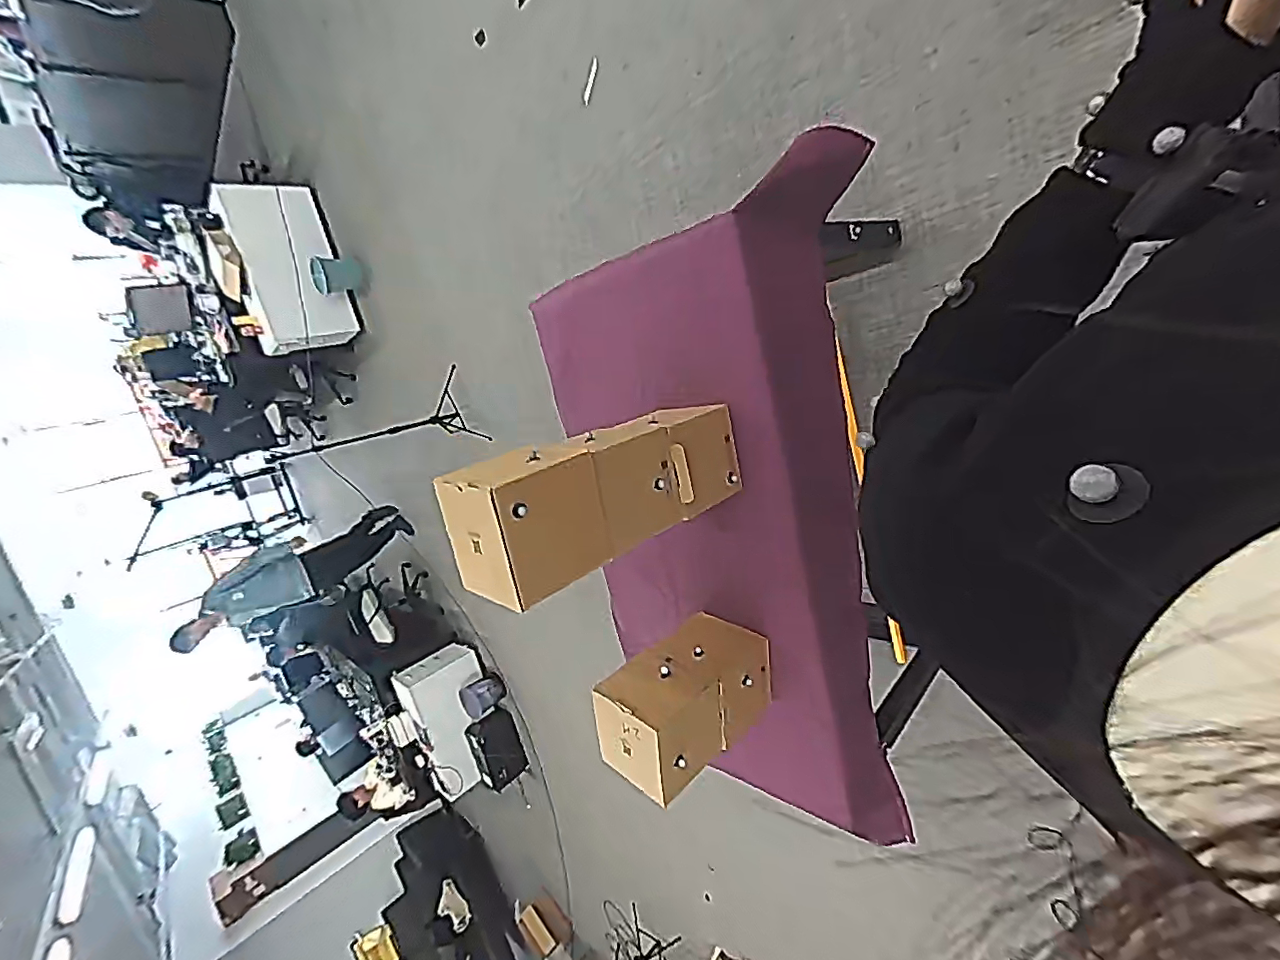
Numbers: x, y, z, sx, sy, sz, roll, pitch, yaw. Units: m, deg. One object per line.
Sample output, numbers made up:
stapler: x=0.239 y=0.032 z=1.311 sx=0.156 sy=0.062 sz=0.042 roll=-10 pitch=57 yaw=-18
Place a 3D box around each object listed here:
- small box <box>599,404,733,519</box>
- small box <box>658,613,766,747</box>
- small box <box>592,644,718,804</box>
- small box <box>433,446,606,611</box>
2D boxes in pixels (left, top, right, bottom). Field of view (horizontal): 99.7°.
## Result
small box: x=0.056 y=-0.039 z=1.003 sx=0.179 sy=0.176 sz=0.168 roll=3 pitch=110 yaw=48
small box: x=0.149 y=0.401 z=1.122 sx=0.179 sy=0.176 sz=0.168 roll=13 pitch=117 yaw=44
small box: x=0.033 y=0.446 z=1.015 sx=0.168 sy=0.176 sz=0.179 roll=13 pitch=117 yaw=42
small box: x=-0.168 y=0.059 z=0.788 sx=0.168 sy=0.176 sz=0.179 roll=5 pitch=112 yaw=45
